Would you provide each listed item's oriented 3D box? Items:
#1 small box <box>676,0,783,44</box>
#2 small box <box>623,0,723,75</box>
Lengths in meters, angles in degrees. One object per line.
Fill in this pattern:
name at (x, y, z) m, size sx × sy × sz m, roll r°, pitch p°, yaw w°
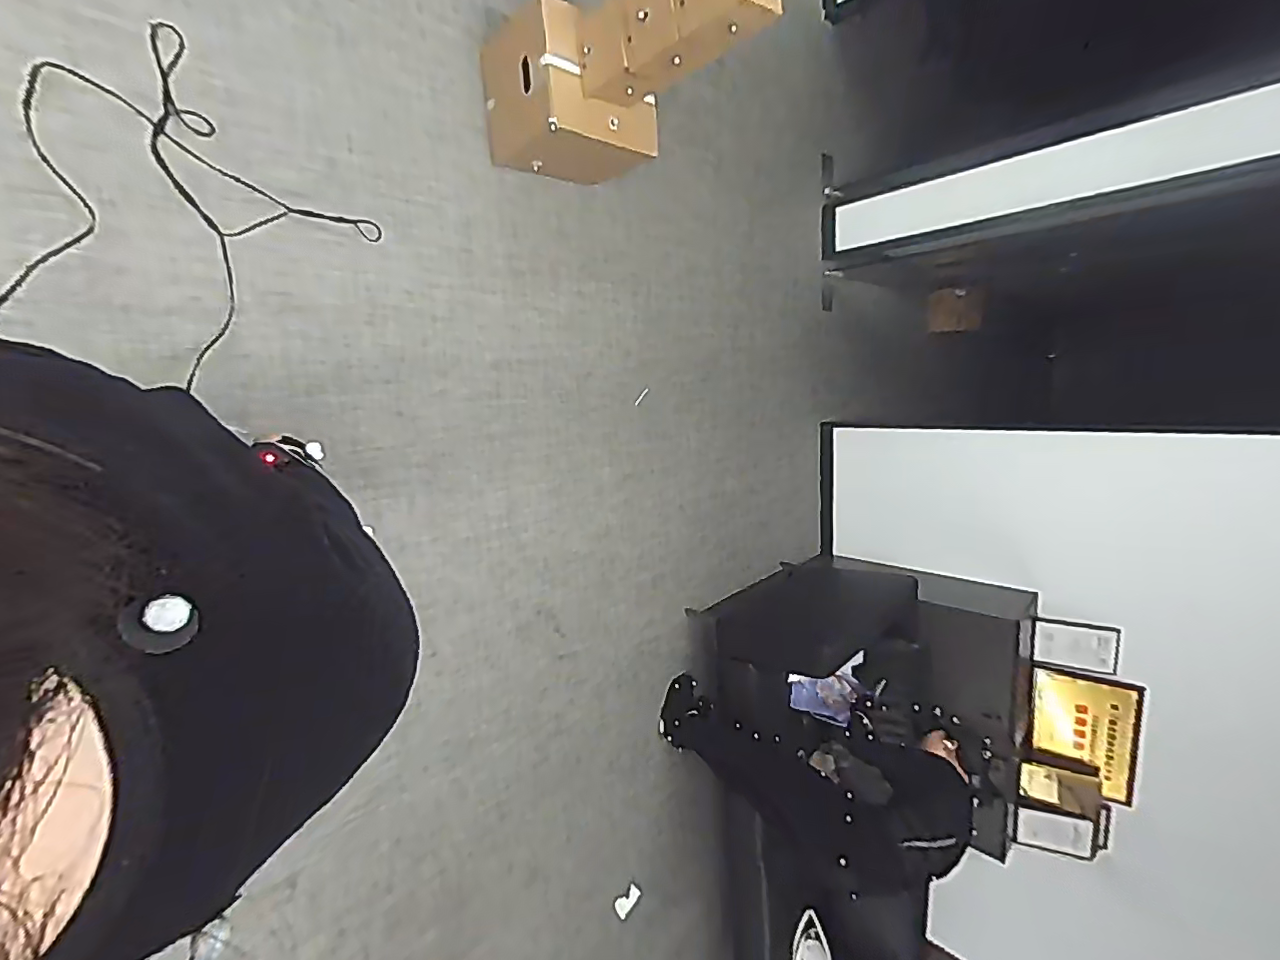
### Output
small box at (0.192, -1.112, 1.200) m, size 0.179 × 0.176 × 0.168 m, roll -27°, pitch 112°, yaw -40°
small box at (0.075, -1.124, 1.316) m, size 0.179 × 0.176 × 0.168 m, roll -25°, pitch 112°, yaw -40°
